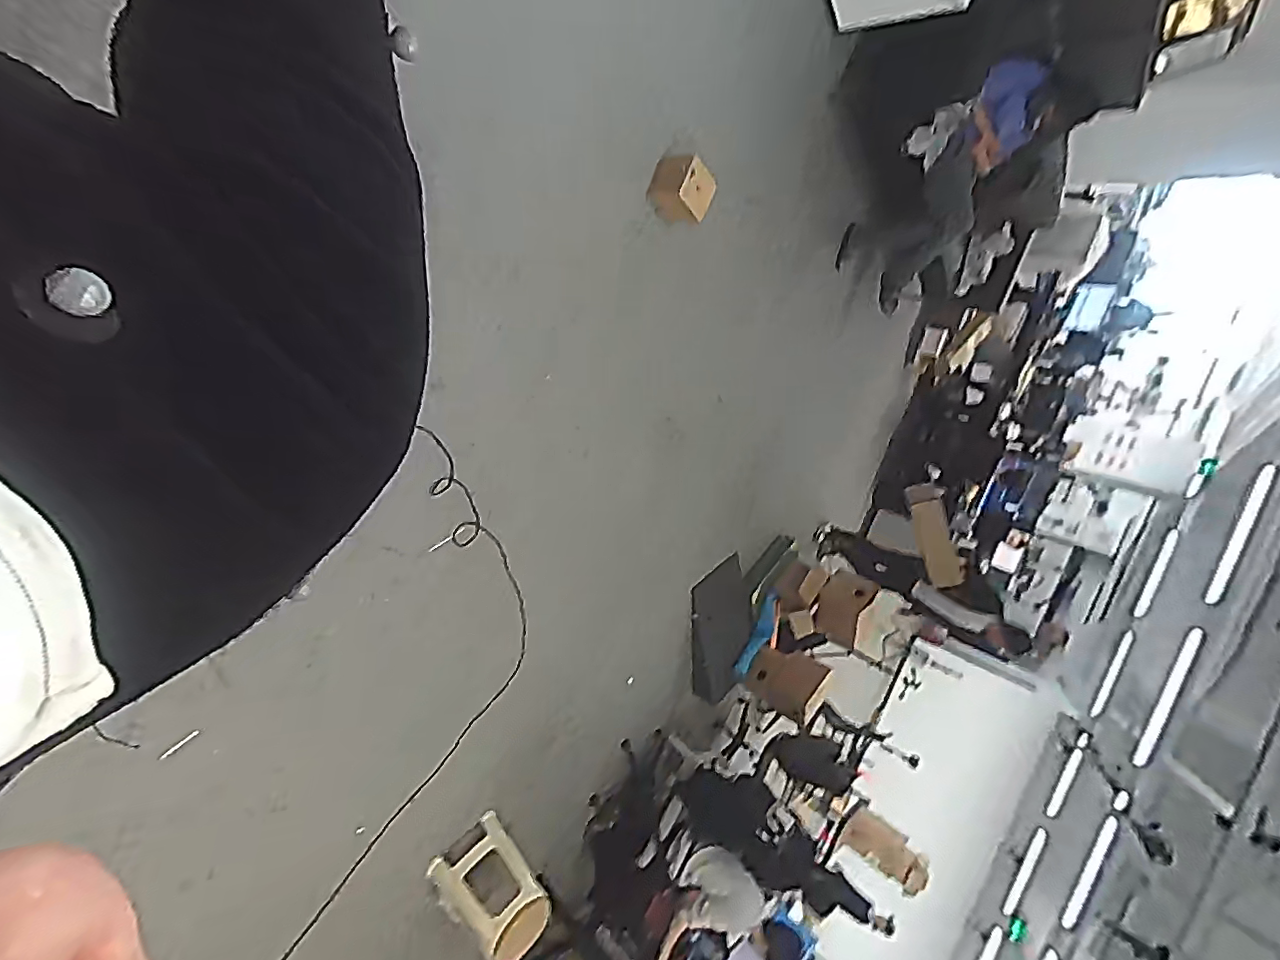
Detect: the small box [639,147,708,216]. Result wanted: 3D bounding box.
[{"bbox_3d":[0.129,-1.148,2.081,0.179,0.176,0.168,25,89,-54],"label":"small box"}]
